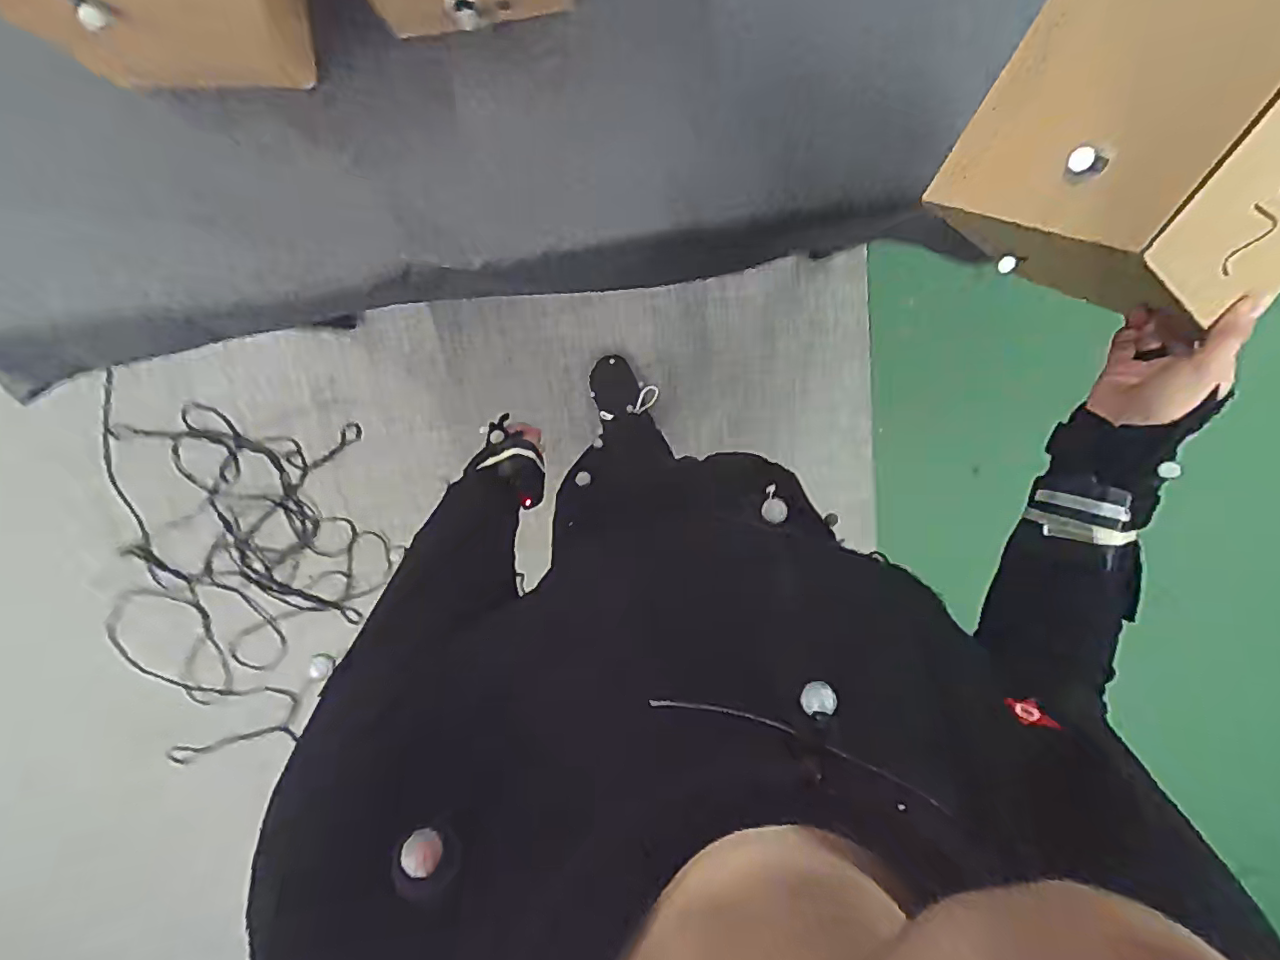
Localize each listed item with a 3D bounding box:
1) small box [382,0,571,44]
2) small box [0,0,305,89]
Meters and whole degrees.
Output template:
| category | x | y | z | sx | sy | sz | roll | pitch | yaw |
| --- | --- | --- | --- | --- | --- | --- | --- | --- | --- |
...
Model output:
| category | x | y | z | sx | sy | sz | roll | pitch | yaw |
| --- | --- | --- | --- | --- | --- | --- | --- | --- | --- |
| small box | -0.151 | -0.477 | 0.397 | 0.168 | 0.176 | 0.179 | -14 | 105 | -1 |
| small box | -0.373 | -0.413 | 0.389 | 0.179 | 0.176 | 0.168 | -3 | 103 | -5 |
